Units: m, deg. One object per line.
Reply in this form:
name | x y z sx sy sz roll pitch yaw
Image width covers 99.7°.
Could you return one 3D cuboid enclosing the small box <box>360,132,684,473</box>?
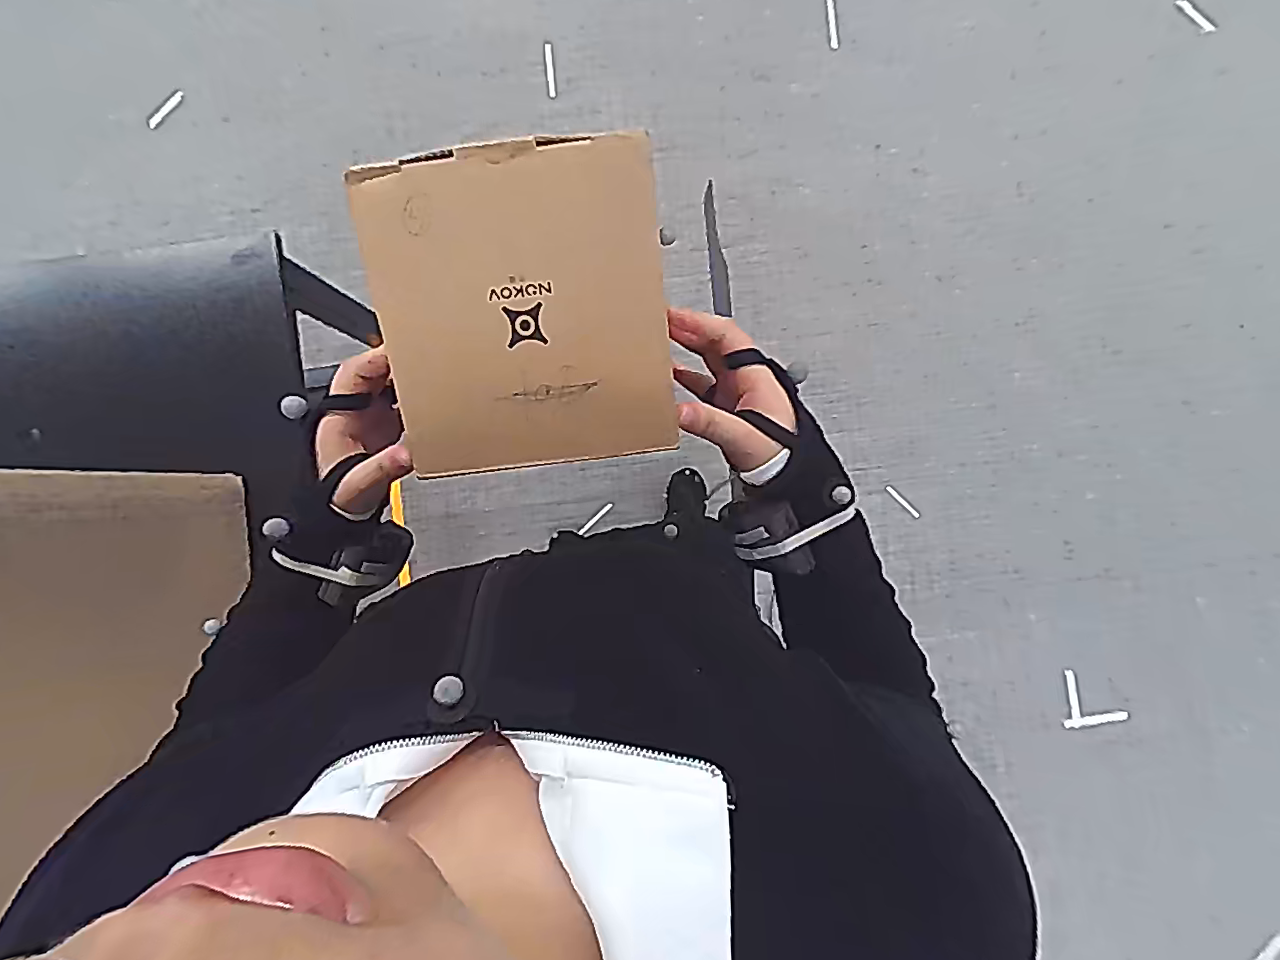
small box | -0.063 -0.115 0.387 0.168 0.176 0.179 -6 106 1
